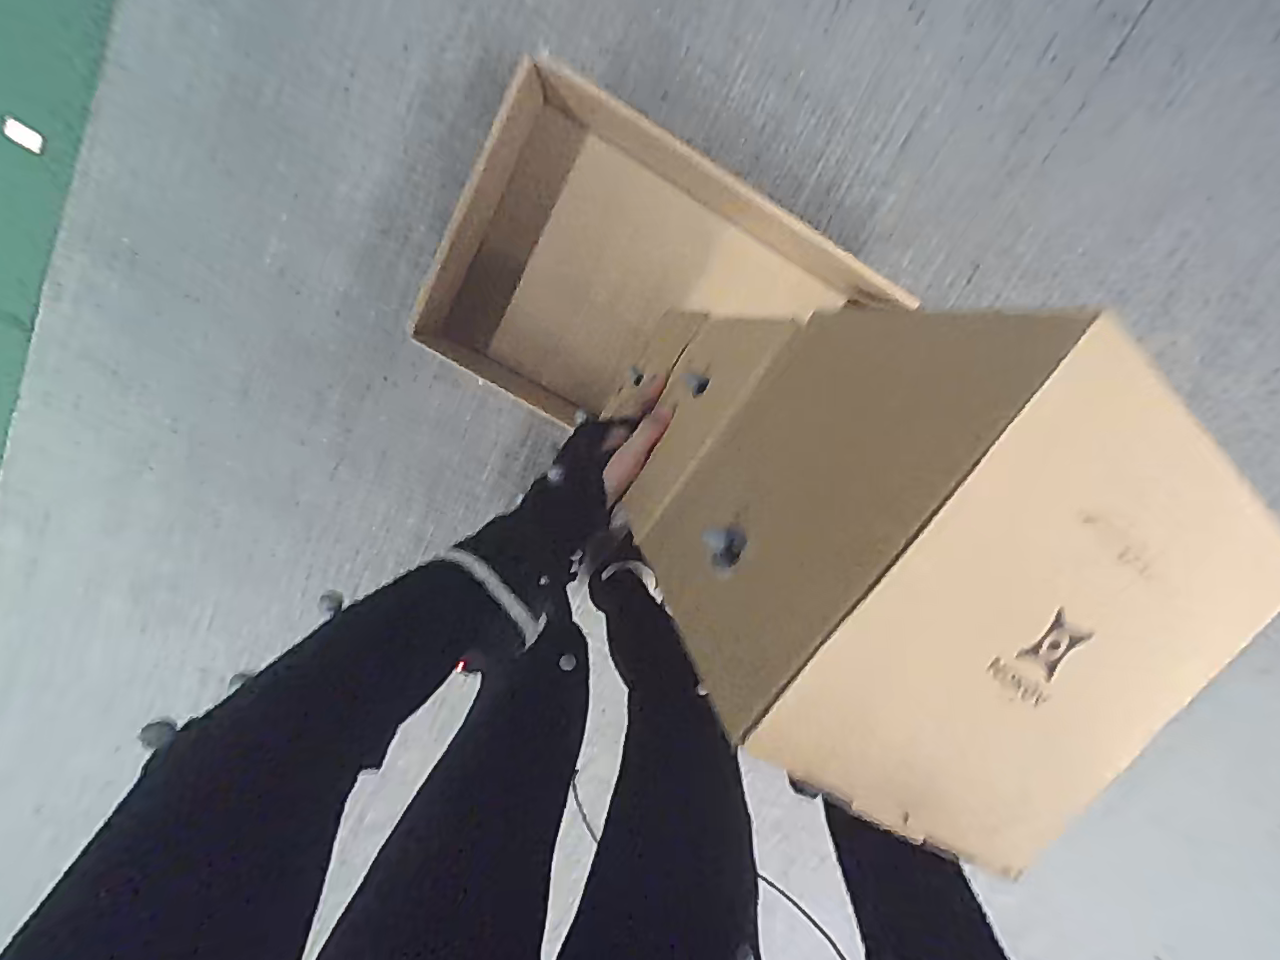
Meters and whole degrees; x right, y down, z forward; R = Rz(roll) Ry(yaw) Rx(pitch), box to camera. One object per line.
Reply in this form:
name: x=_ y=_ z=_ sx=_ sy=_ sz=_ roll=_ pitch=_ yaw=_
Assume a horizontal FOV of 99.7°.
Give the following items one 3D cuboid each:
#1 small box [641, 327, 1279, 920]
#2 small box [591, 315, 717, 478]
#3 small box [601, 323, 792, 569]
small box: x=0.116 y=0.046 z=0.260 sx=0.168 sy=0.176 sz=0.179 roll=34 pitch=98 yaw=-19
small box: x=0.061 y=-0.053 z=0.565 sx=0.179 sy=0.176 sz=0.168 roll=30 pitch=101 yaw=-16
small box: x=0.085 y=0.000 z=0.413 sx=0.179 sy=0.176 sz=0.168 roll=32 pitch=100 yaw=-17
